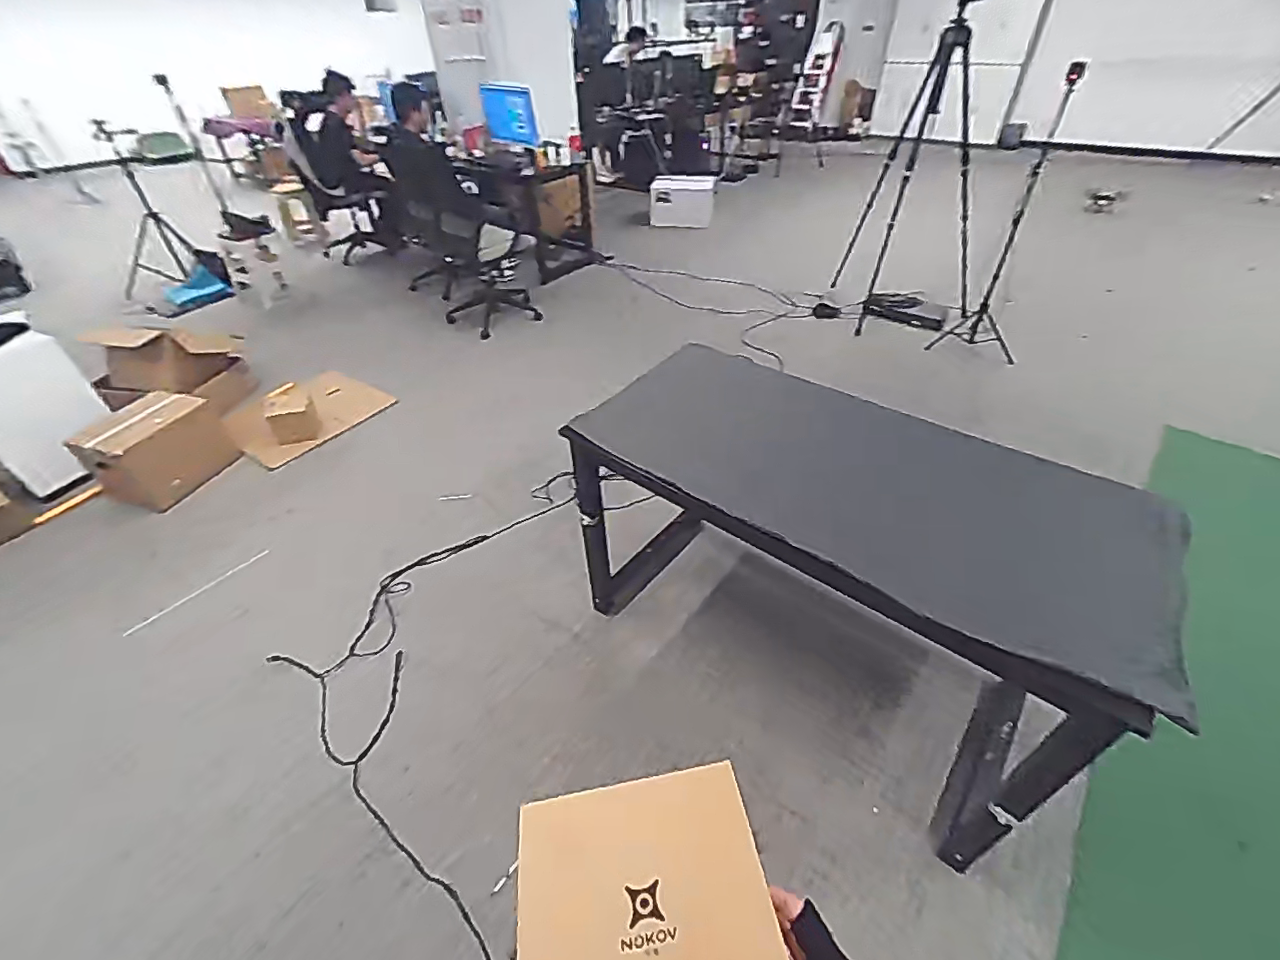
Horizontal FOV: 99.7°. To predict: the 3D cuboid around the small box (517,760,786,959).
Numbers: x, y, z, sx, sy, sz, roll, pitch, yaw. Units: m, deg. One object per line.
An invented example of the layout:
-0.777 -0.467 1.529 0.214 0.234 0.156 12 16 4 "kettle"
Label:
0.009 0.344 0.394 0.168 0.176 0.179 -10 36 -5 "small box"
